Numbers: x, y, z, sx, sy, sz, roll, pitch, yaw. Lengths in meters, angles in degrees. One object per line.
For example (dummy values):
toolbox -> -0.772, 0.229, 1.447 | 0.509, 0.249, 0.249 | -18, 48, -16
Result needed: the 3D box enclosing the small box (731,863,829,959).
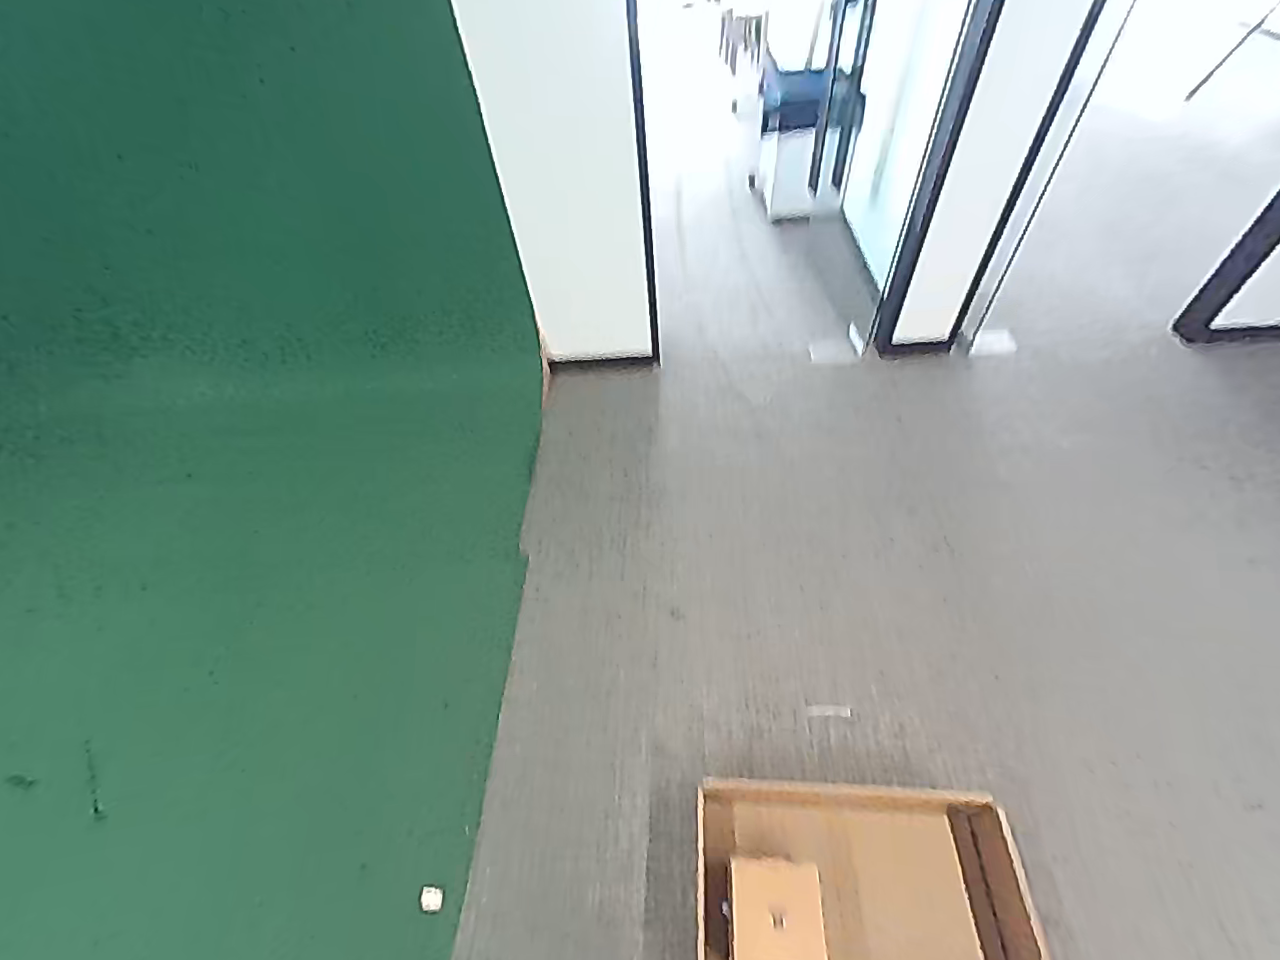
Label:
small box -> 0.263, 0.863, 1.045 | 0.168, 0.176, 0.179 | 0, 49, 6
